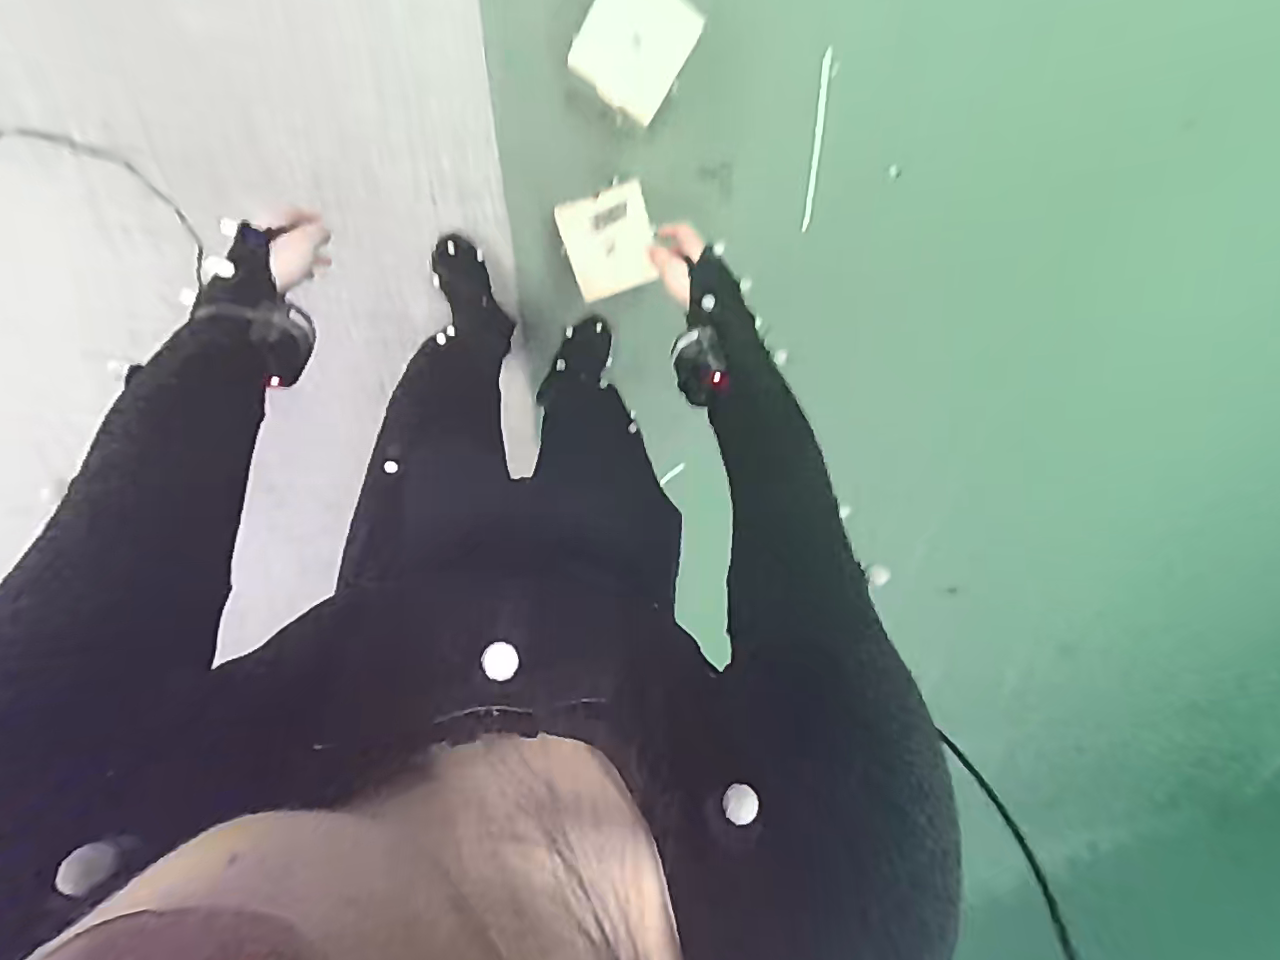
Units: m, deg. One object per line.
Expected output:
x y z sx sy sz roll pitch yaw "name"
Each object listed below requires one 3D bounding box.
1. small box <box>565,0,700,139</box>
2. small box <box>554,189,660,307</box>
-0.018 -0.745 0.967 0.168 0.176 0.179 29 111 -19 "small box"
-0.069 -0.474 1.103 0.168 0.176 0.179 -17 119 4 "small box"
